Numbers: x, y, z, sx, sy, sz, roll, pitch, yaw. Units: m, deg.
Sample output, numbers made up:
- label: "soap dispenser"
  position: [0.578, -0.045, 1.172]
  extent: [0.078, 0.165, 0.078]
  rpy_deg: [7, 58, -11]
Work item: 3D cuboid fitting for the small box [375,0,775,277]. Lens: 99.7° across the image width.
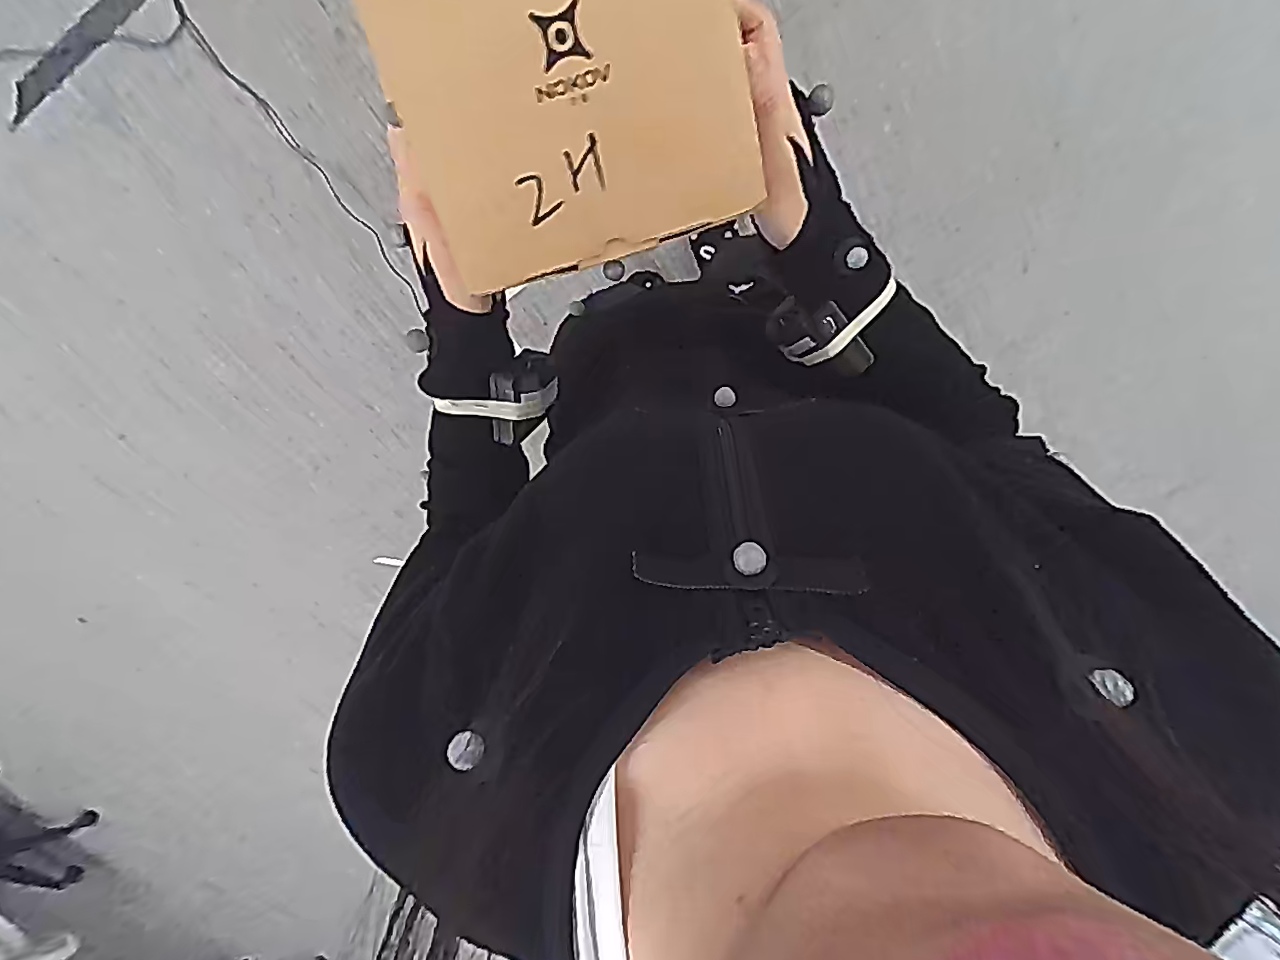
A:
- label: "small box"
  position: [-0.038, -0.231, 0.323]
  extent: [0.168, 0.176, 0.179]
  rpy_deg: [-17, 112, 1]
